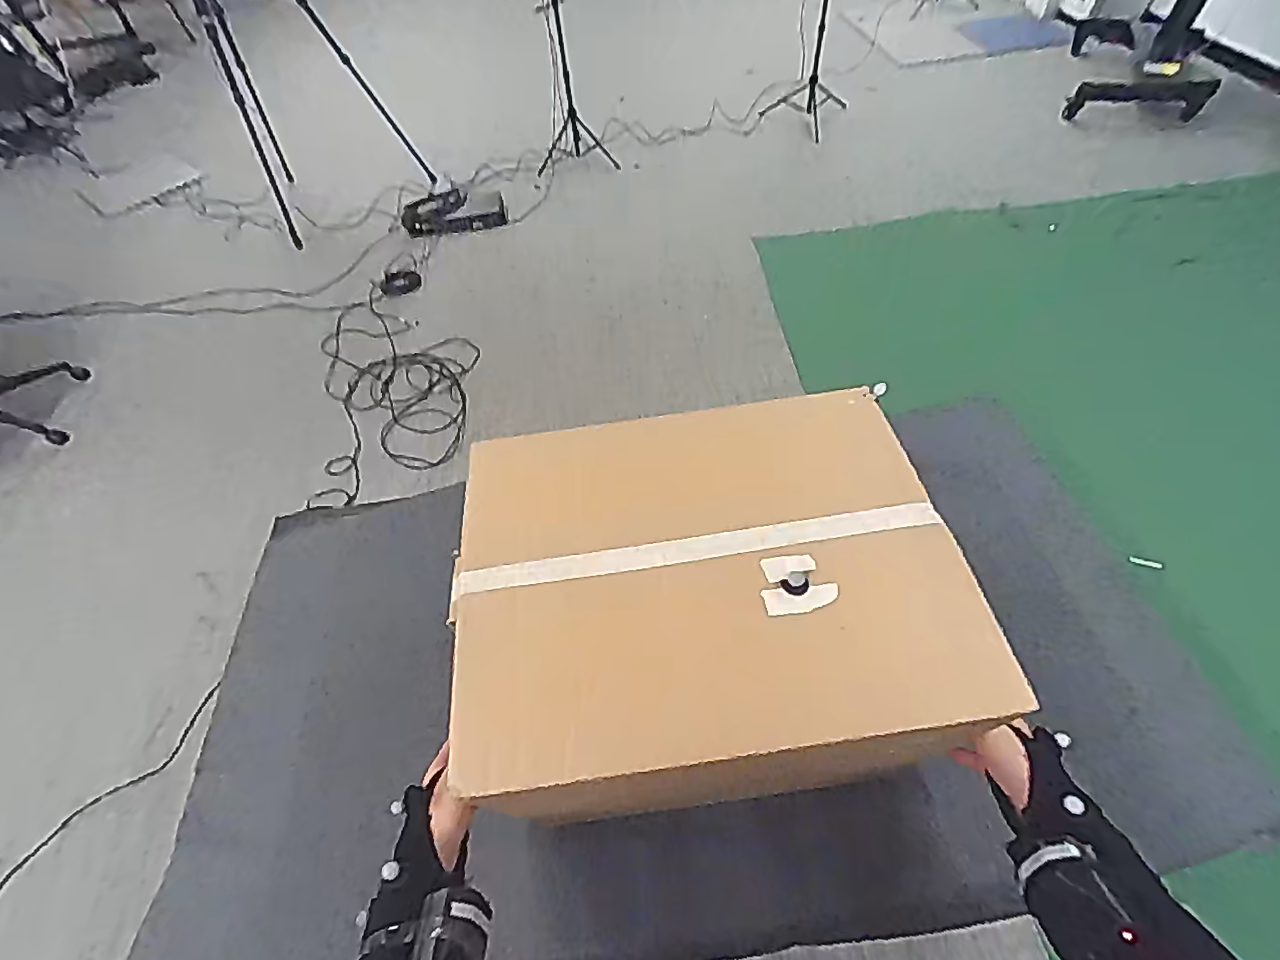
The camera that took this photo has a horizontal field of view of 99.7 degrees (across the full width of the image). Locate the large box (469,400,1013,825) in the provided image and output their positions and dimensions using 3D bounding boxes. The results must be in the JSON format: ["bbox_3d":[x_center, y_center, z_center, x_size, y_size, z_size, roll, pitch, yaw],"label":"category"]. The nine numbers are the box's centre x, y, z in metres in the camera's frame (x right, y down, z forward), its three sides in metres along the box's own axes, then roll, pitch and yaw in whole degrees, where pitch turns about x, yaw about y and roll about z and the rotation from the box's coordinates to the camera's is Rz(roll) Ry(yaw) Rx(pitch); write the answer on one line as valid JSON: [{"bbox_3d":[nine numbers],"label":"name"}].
[{"bbox_3d":[0.063,0.154,0.587,0.408,0.320,0.320,-8,55,-1],"label":"large box"}]
